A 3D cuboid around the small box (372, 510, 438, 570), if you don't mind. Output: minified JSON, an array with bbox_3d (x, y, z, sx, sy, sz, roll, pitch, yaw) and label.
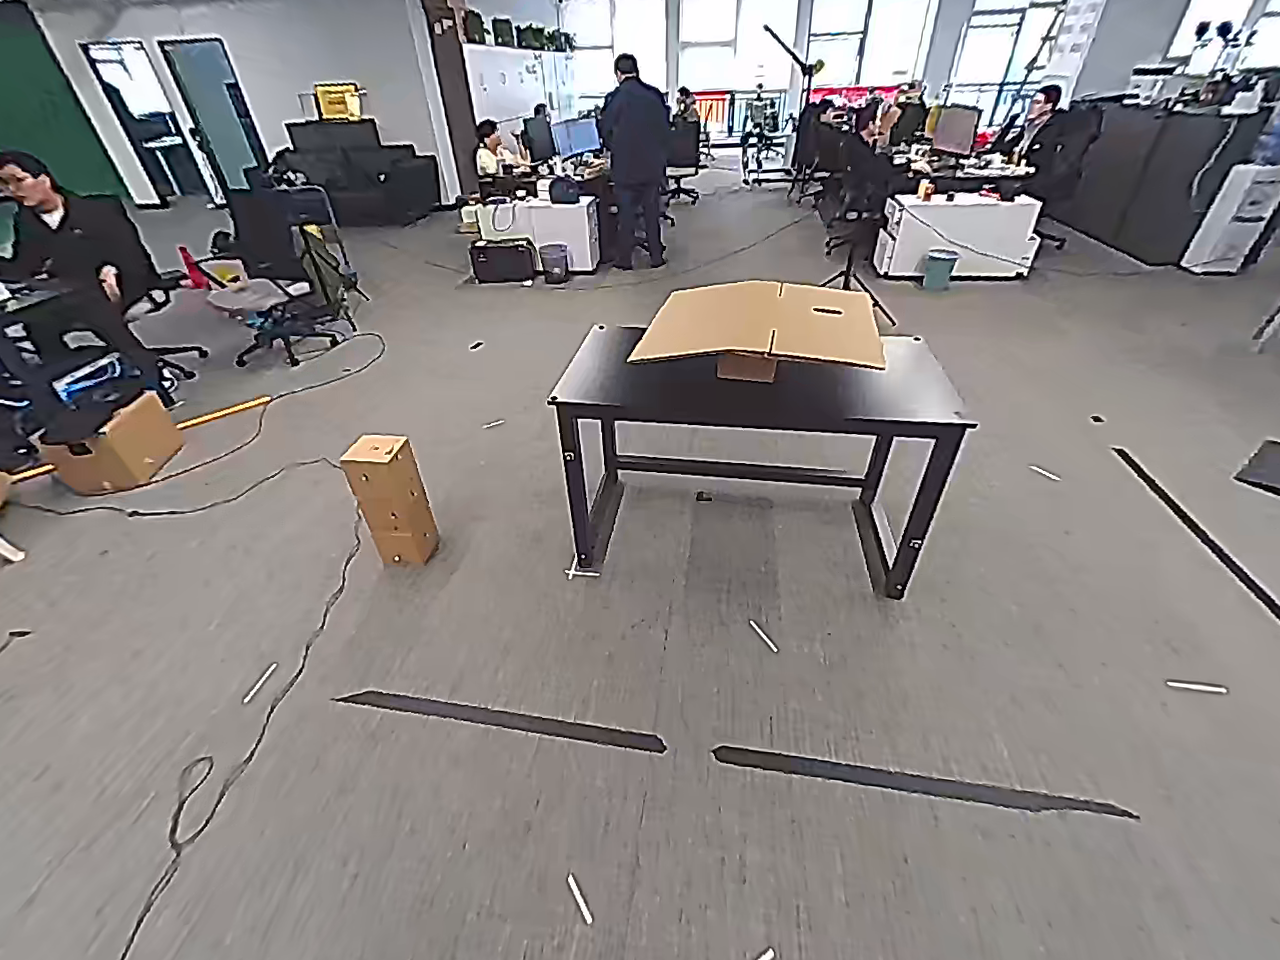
[{"bbox_3d":[-0.920,0.234,2.139,0.168,0.176,0.179,1,38,5],"label":"small box"}]

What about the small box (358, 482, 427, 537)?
[{"bbox_3d":[-0.928,0.101,2.047,0.168,0.176,0.179,1,35,2],"label":"small box"}]

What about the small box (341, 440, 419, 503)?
[{"bbox_3d":[-0.929,-0.029,1.947,0.179,0.176,0.168,2,37,5],"label":"small box"}]
